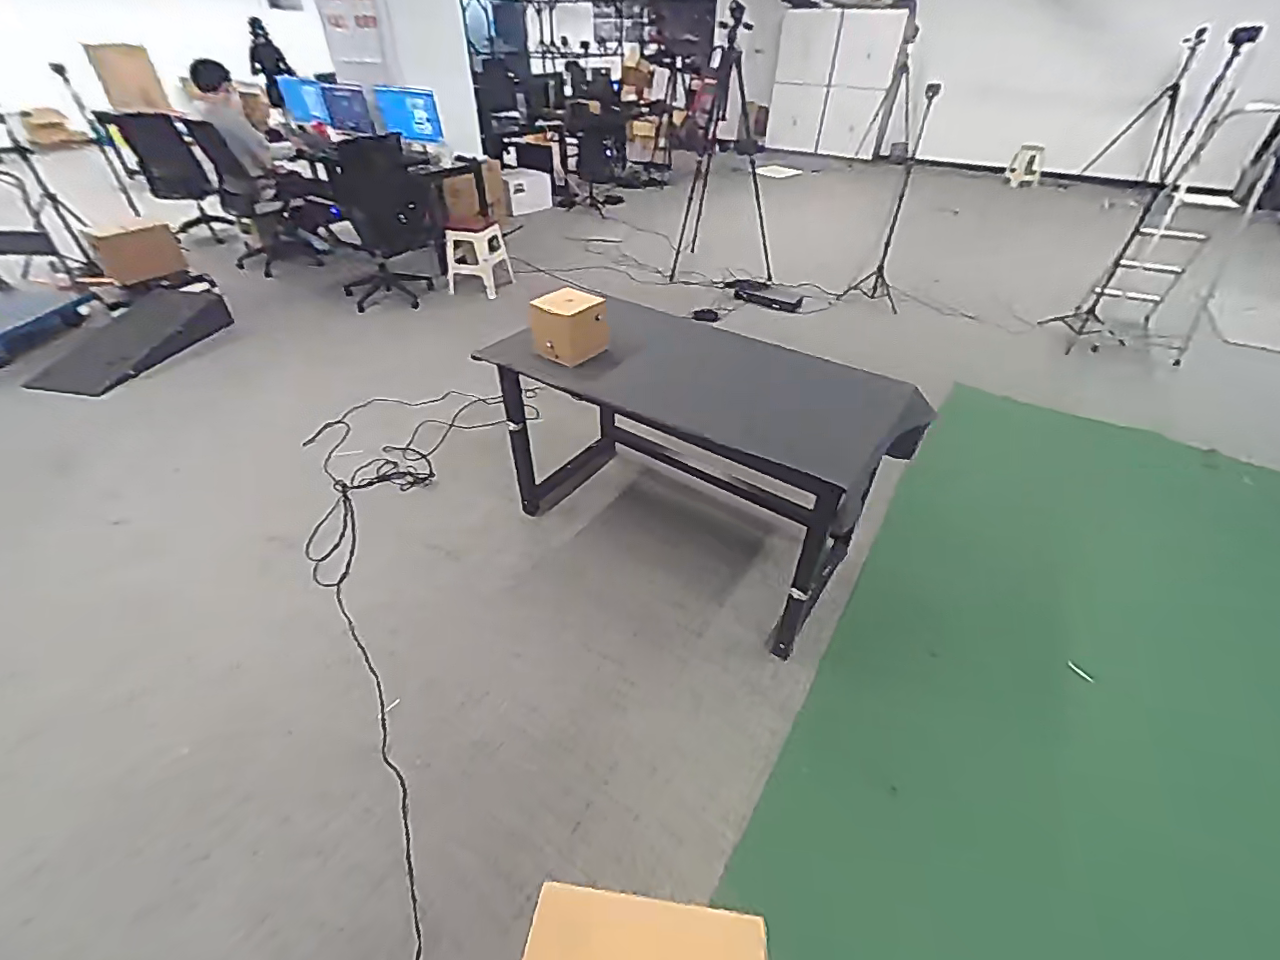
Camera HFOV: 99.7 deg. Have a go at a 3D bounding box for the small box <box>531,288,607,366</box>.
[{"bbox_3d":[-0.220,-0.482,1.697,0.168,0.176,0.179,27,45,27],"label":"small box"}]
